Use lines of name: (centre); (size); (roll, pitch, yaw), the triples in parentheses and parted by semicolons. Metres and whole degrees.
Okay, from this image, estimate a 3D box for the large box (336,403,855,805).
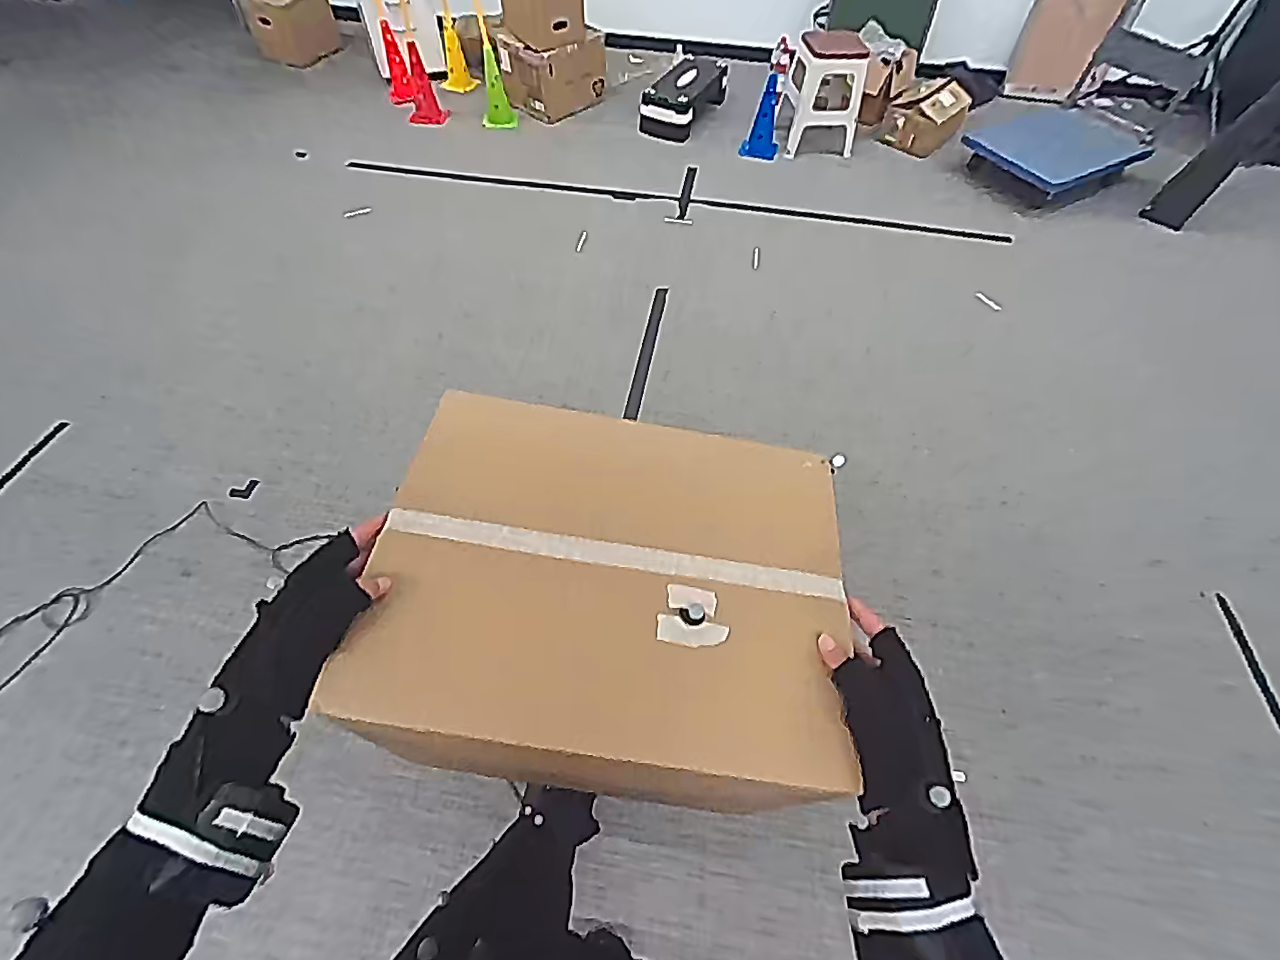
large box: (-0.035, 0.155, 0.609); (0.408, 0.320, 0.320); (10, 56, -2)
